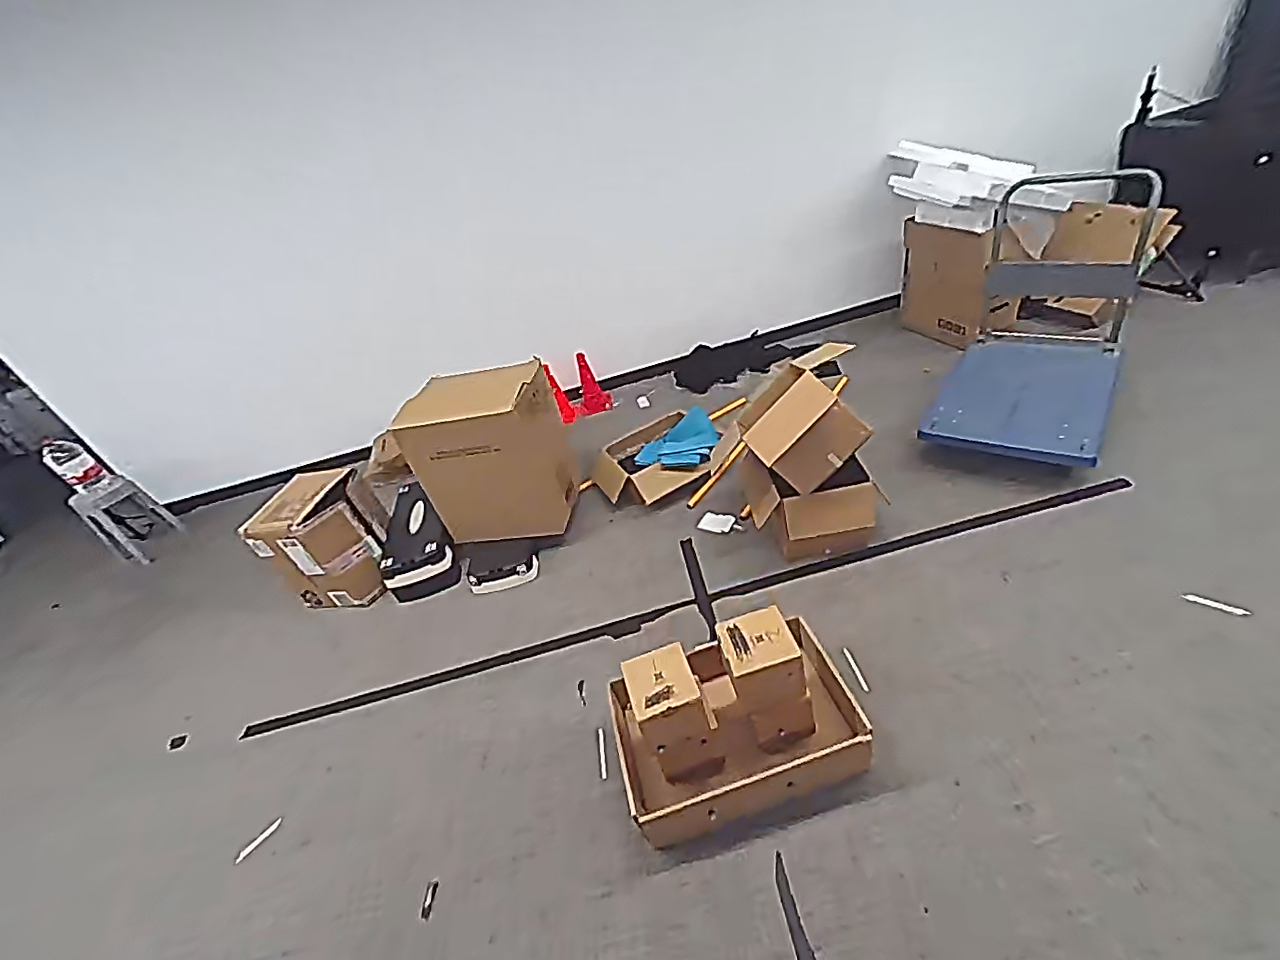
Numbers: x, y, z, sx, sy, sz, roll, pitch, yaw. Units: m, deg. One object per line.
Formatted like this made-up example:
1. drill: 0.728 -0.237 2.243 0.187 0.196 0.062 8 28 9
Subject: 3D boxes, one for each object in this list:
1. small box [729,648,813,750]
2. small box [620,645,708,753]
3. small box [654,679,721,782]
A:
1. small box: 0.360 0.603 1.488 0.168 0.176 0.179 -19 35 -2
2. small box: 0.063 0.561 1.372 0.168 0.176 0.179 -18 34 -5
3. small box: 0.114 0.682 1.474 0.179 0.176 0.168 -19 34 -5
